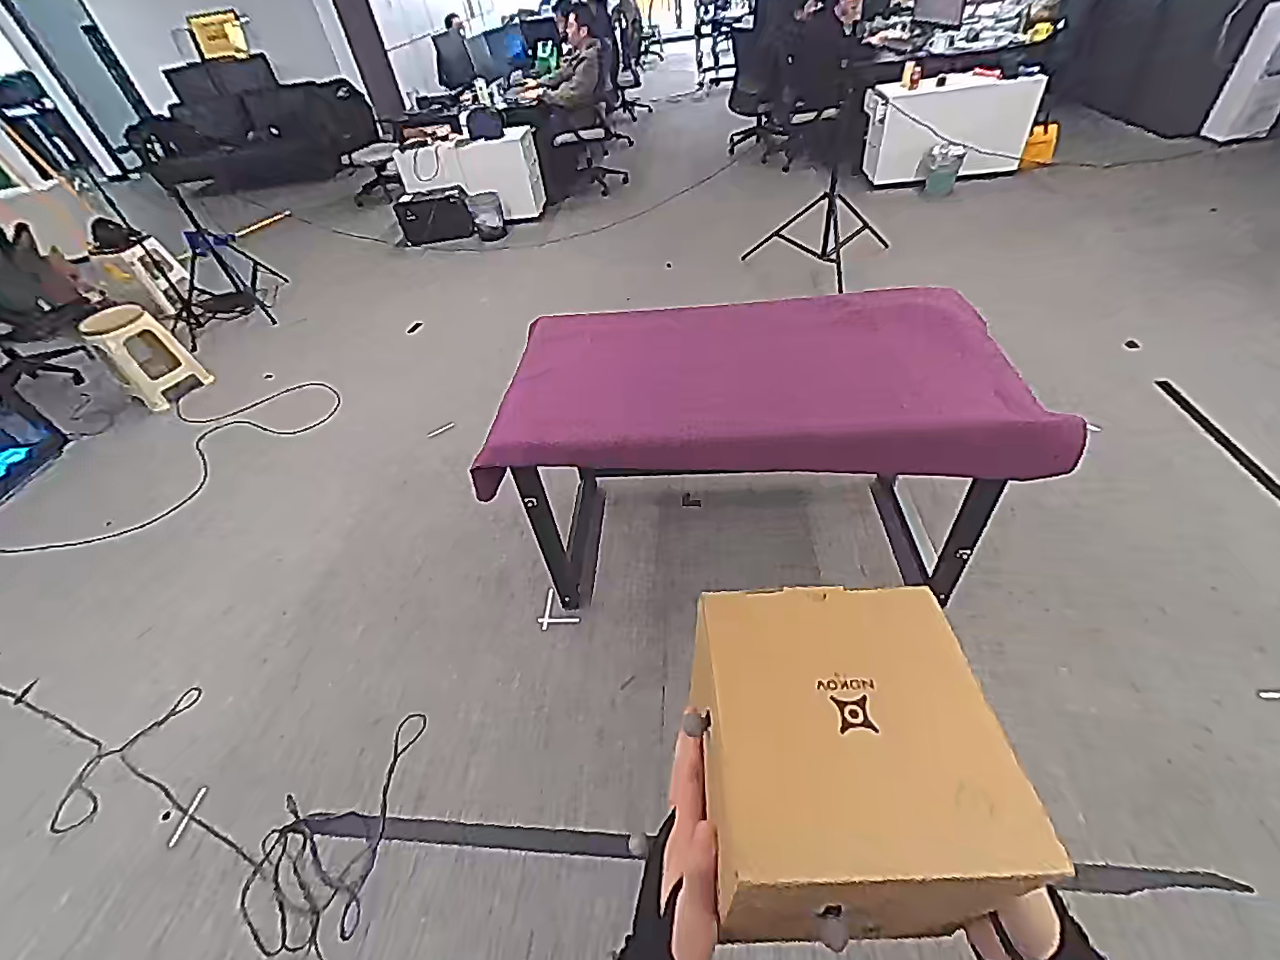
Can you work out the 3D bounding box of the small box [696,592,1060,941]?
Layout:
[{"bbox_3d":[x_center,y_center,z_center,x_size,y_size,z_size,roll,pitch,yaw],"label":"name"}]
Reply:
[{"bbox_3d":[0.131,0.202,0.383,0.168,0.176,0.179,-2,40,0],"label":"small box"}]
